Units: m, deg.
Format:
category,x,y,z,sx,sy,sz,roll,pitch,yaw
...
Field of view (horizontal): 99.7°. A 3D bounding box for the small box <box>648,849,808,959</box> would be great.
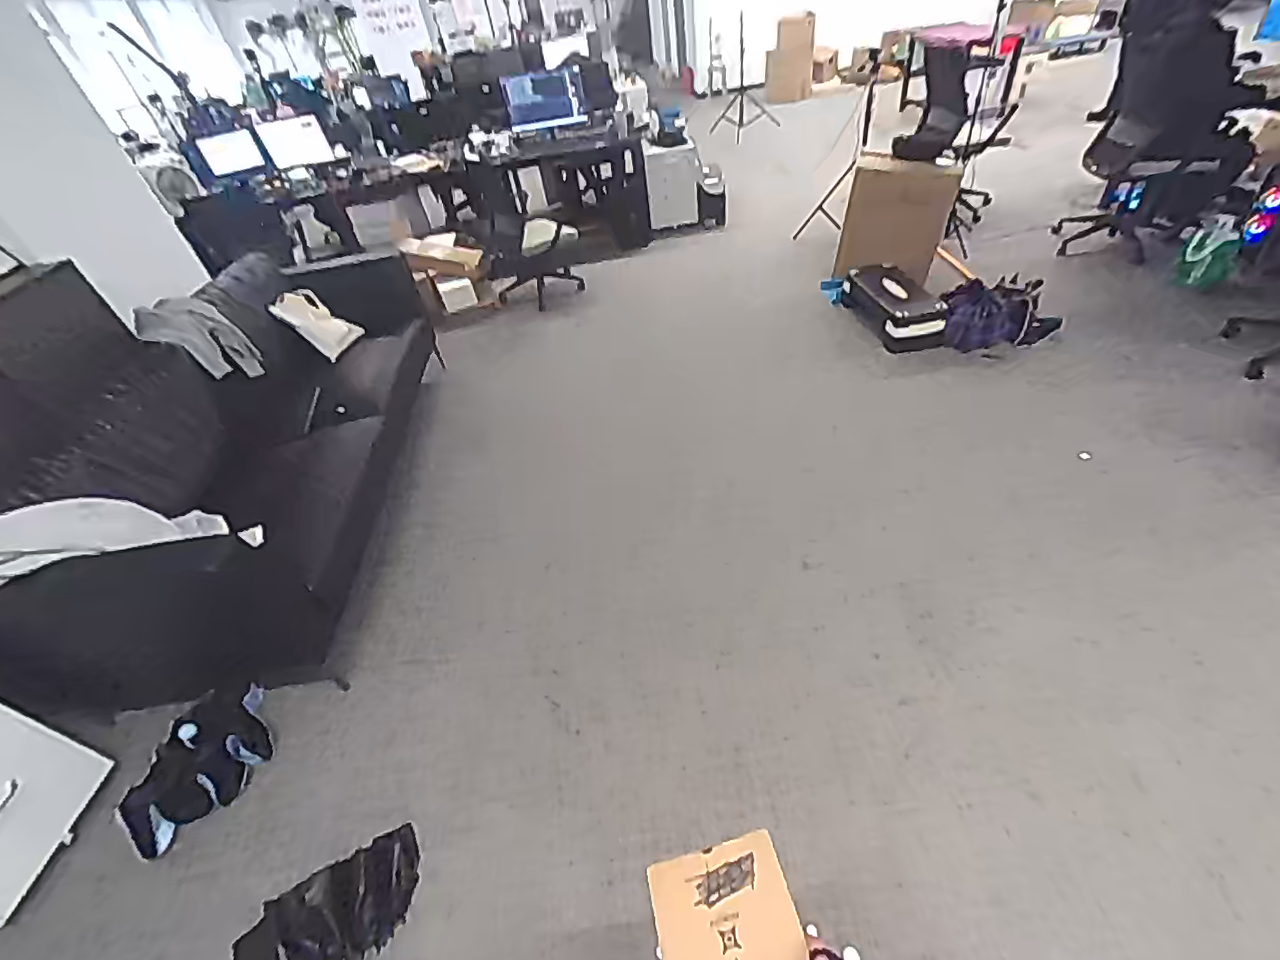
category,x,y,z,sx,sy,sz,roll,pitch,yaw
small box,0.120,0.594,0.654,0.168,0.176,0.179,-19,36,1
